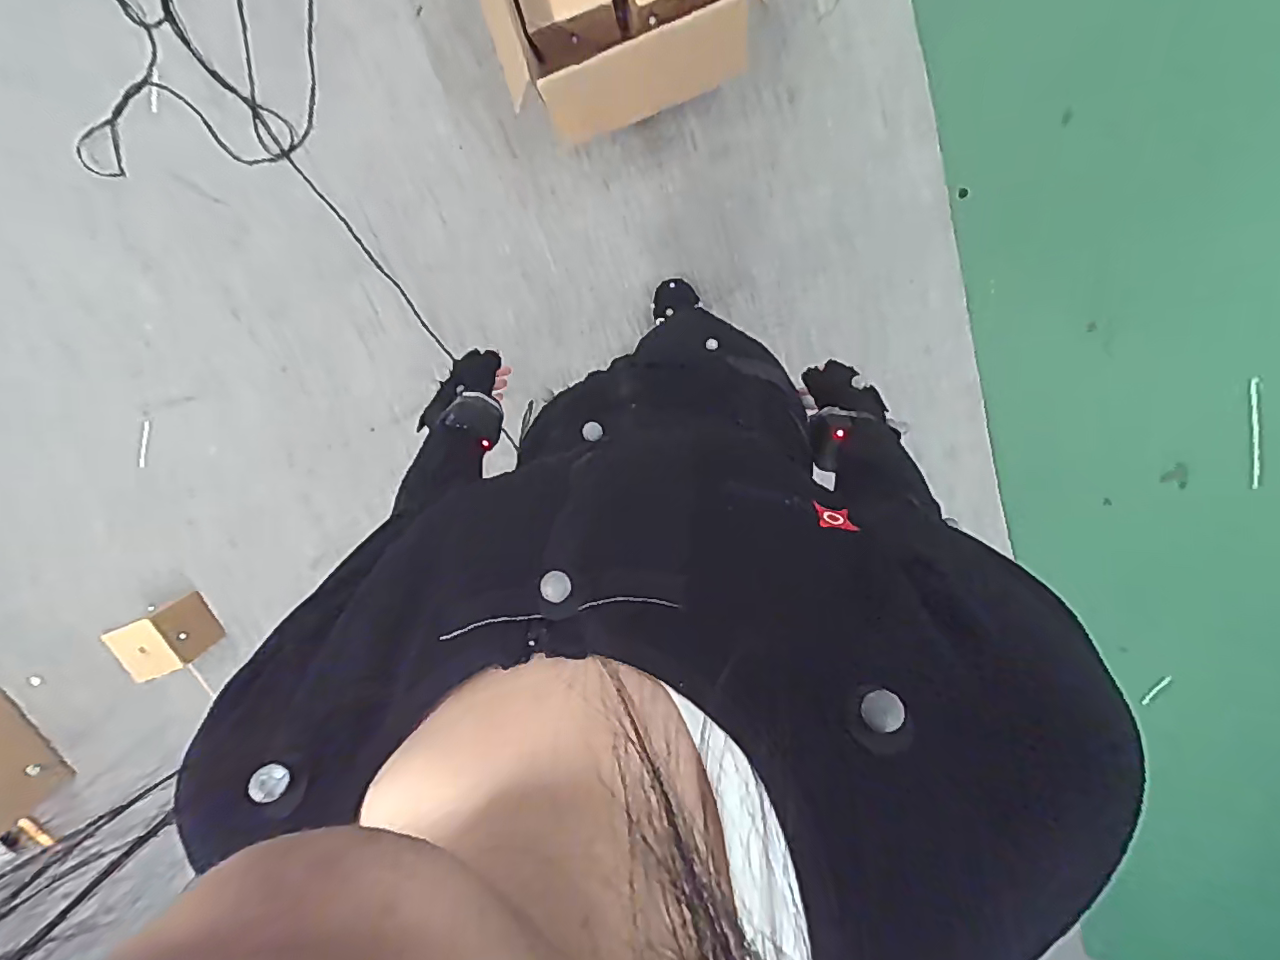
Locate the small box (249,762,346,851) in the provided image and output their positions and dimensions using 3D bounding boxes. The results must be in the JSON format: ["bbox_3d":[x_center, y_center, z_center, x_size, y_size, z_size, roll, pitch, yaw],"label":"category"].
[{"bbox_3d":[-1.129,1.080,1.797,0.179,0.176,0.168,-21,107,8],"label":"small box"}]

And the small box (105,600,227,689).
[{"bbox_3d":[-1.399,0.478,1.609,0.168,0.176,0.179,-21,107,7],"label":"small box"}]
